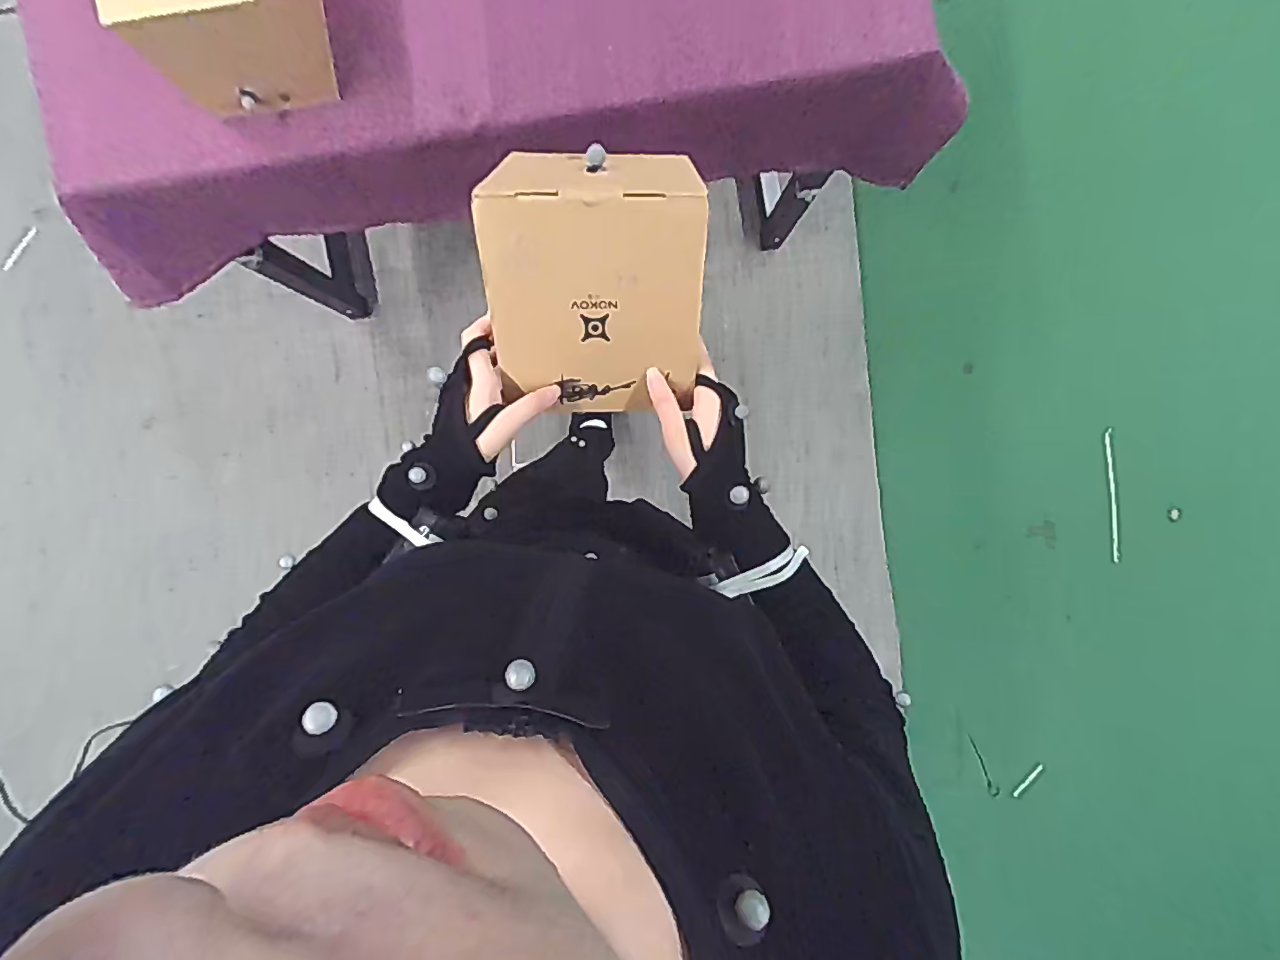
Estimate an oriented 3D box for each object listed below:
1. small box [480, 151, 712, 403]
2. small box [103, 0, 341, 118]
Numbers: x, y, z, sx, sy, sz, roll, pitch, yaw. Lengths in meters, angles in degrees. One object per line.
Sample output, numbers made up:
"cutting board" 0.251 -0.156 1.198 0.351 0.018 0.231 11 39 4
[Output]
"small box" -0.034 -0.186 0.488 0.168 0.176 0.179 0 129 -1
"small box" -0.488 -0.577 0.641 0.168 0.176 0.179 -9 94 0
